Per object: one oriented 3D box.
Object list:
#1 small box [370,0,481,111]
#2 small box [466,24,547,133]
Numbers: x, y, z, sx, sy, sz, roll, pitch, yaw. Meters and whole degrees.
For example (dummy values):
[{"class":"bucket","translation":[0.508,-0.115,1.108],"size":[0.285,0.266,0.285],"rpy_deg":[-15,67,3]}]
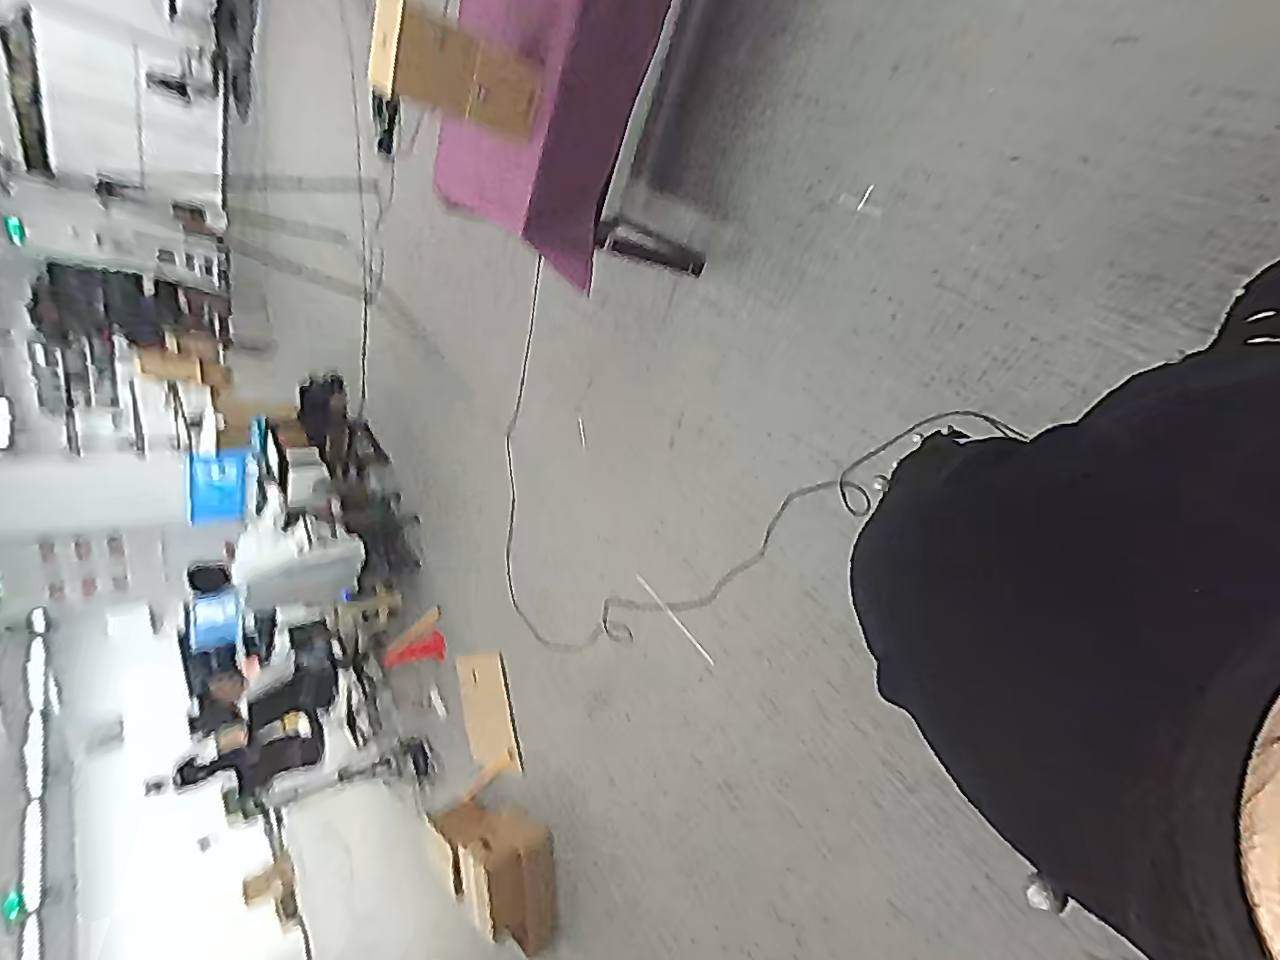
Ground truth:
[{"class":"small box","translation":[-0.471,-0.960,1.193],"size":[0.168,0.176,0.179],"rpy_deg":[47,126,32]},{"class":"small box","translation":[-0.354,-0.972,1.307],"size":[0.179,0.176,0.168],"rpy_deg":[46,125,33]}]
